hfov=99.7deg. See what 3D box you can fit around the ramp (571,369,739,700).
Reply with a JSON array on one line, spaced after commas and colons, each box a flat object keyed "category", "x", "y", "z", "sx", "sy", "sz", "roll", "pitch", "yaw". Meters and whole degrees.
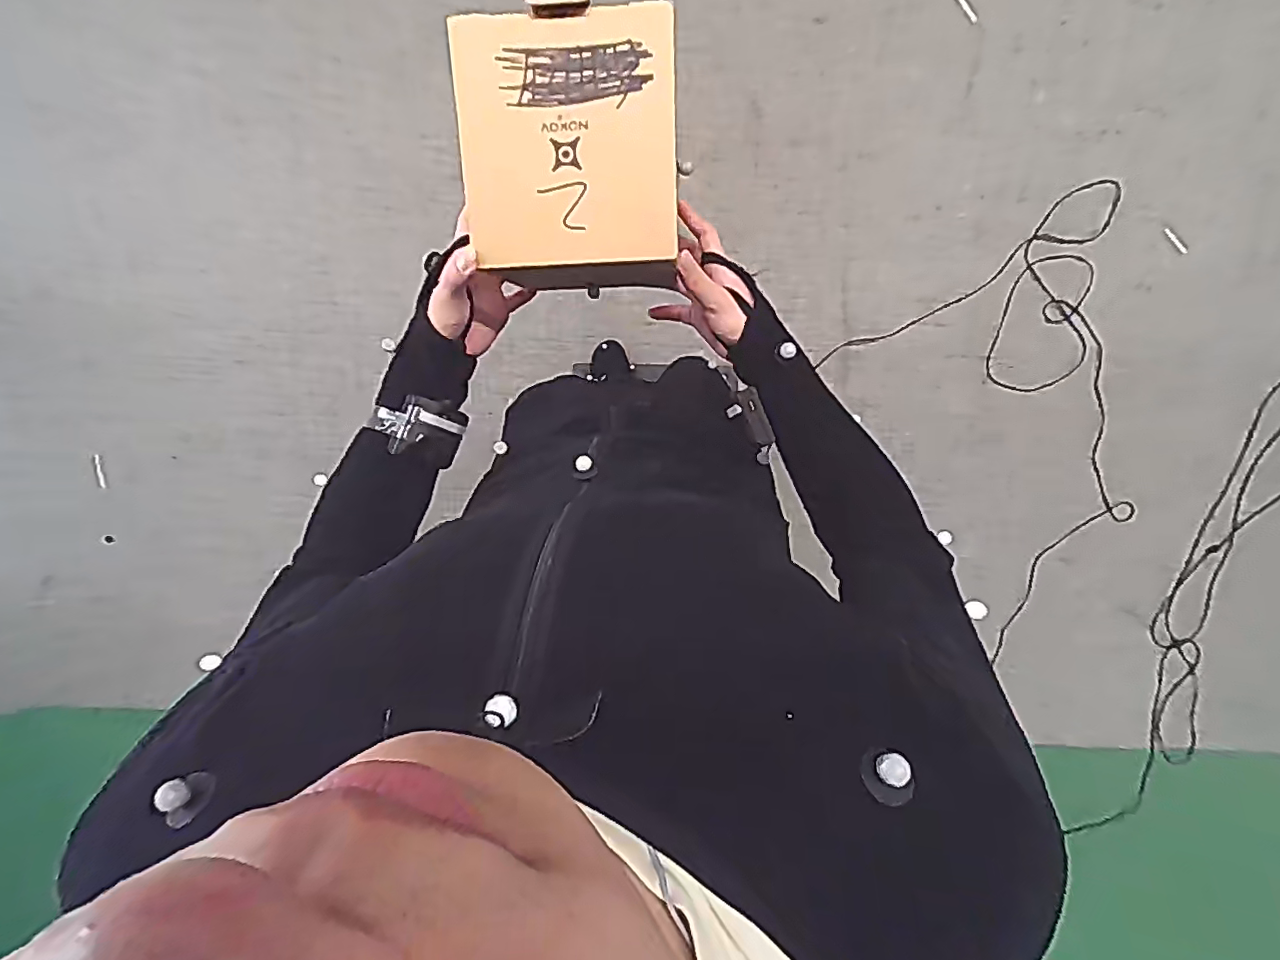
[{"category": "ramp", "x": 0.039, "y": 0.172, "z": 1.624, "sx": 0.509, "sy": 0.206, "sz": 0.991, "roll": 0, "pitch": 104, "yaw": 2}]
